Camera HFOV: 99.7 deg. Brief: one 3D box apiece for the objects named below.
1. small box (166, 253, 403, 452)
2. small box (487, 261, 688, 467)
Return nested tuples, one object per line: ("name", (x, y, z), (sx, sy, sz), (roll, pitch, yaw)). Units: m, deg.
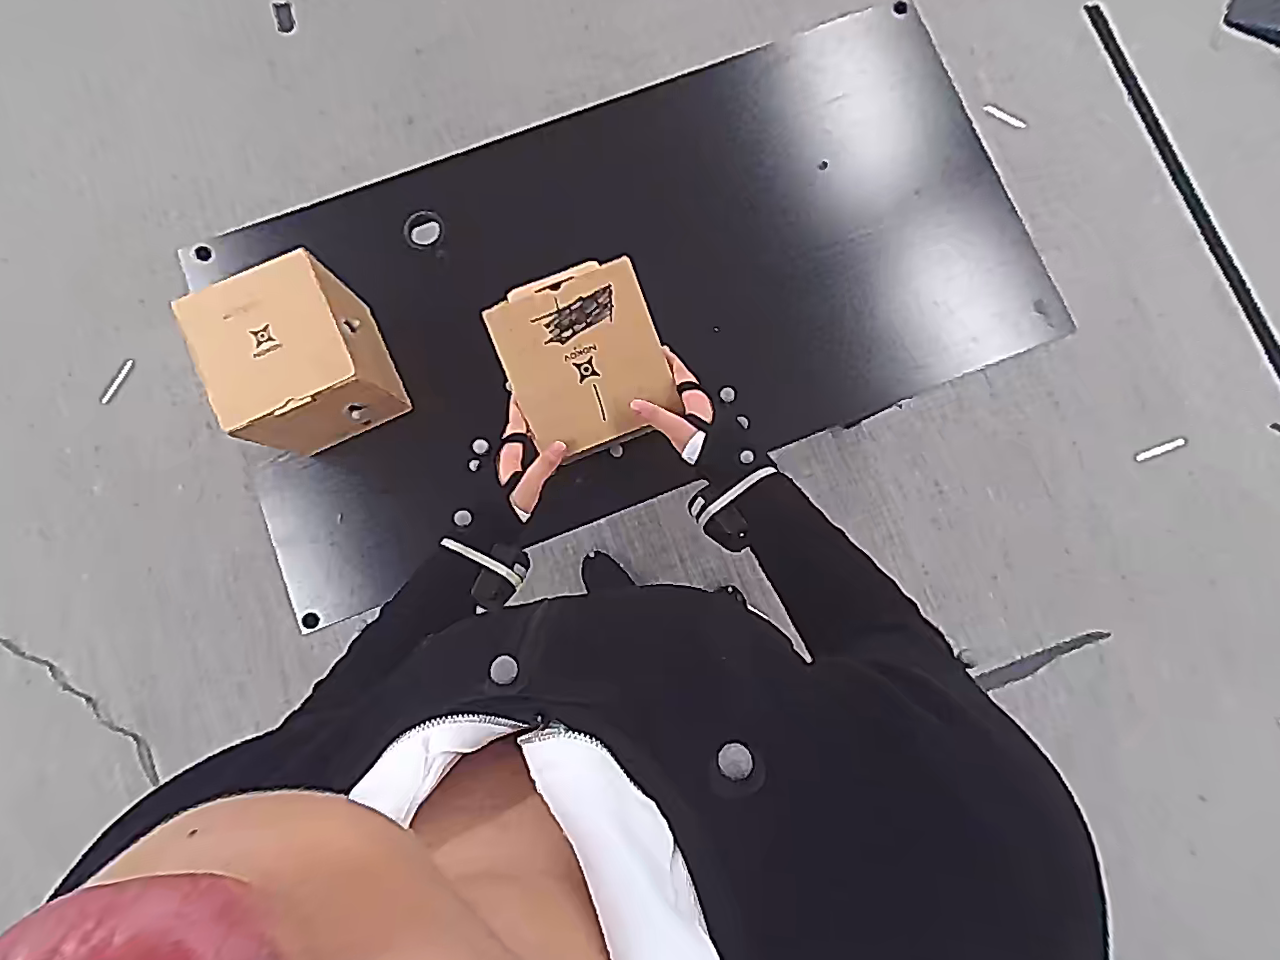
("small box", (-0.438, -0.148, 0.699), (0.168, 0.176, 0.179), (-26, 84, -5))
("small box", (-0.056, -0.123, 0.639), (0.168, 0.176, 0.179), (-21, 93, 0))
